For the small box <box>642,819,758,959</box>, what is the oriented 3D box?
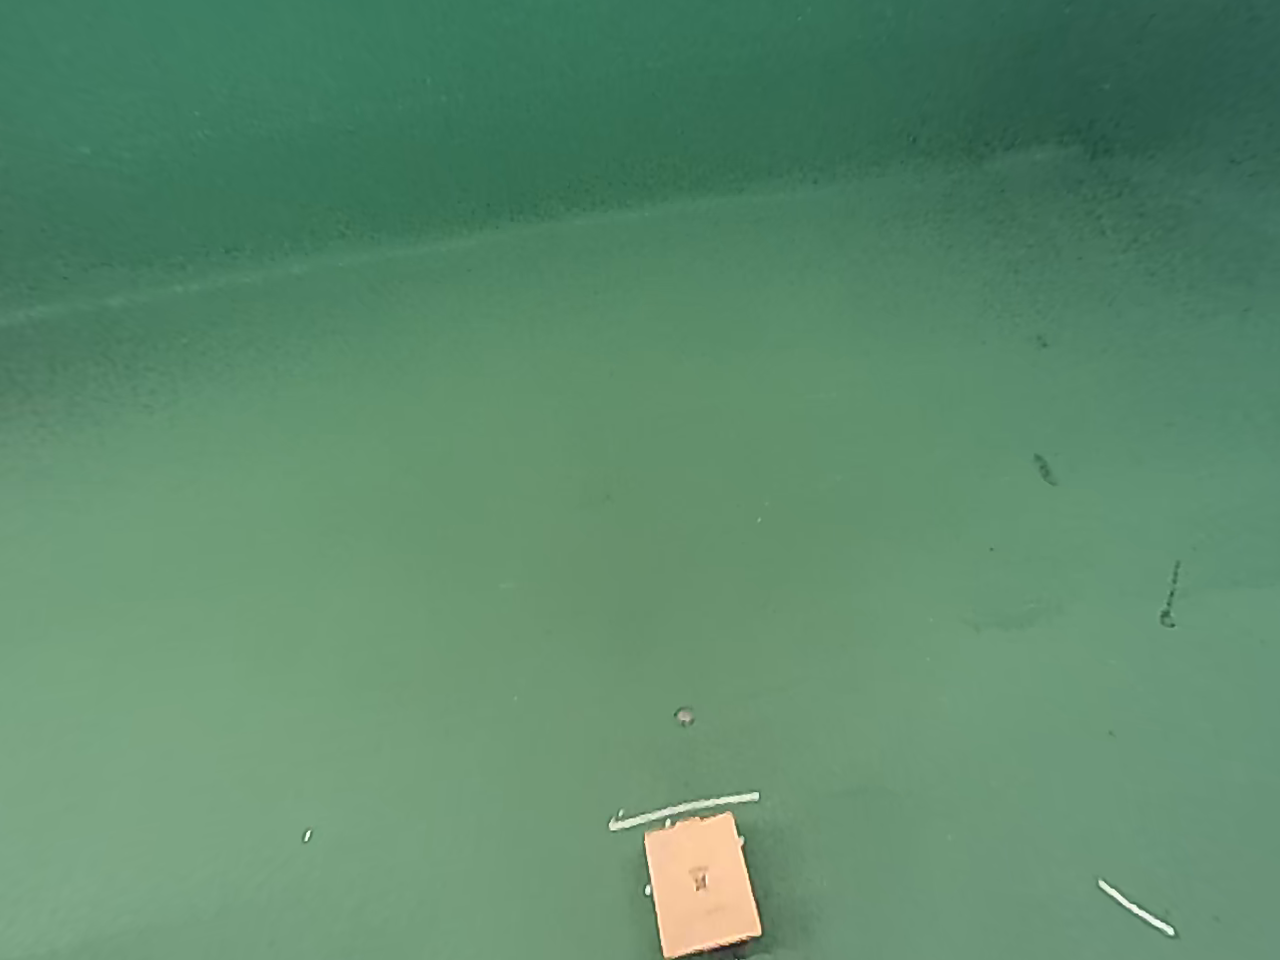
[{"bbox_3d":[0.101,0.738,0.976,0.168,0.176,0.179,-12,53,-4],"label":"small box"}]
